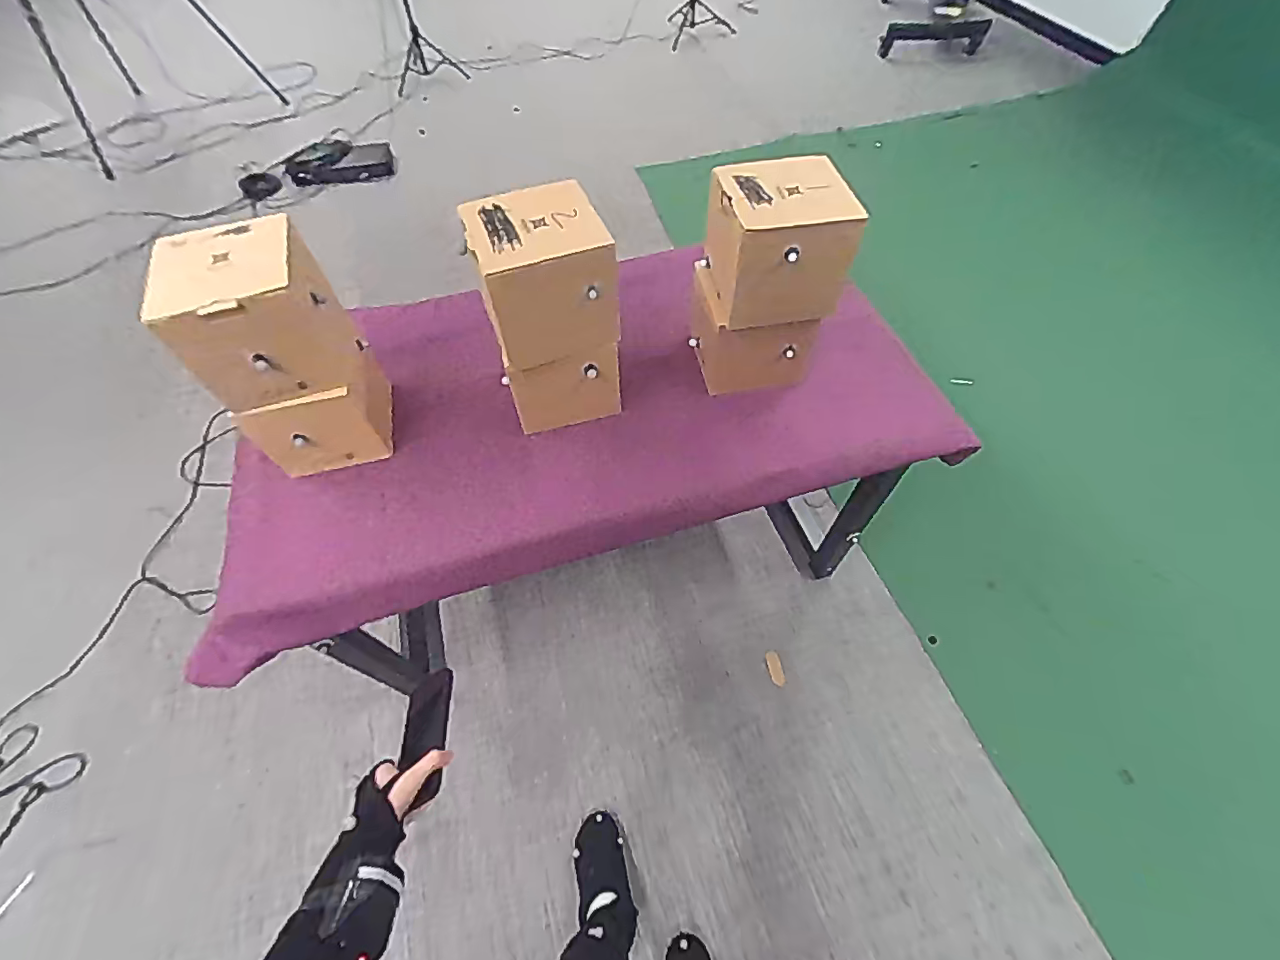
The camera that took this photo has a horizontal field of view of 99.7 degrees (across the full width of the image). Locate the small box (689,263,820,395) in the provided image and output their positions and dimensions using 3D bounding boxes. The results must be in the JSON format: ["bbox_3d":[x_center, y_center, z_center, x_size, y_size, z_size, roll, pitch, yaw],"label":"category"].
[{"bbox_3d":[0.193,-0.272,0.965,0.179,0.176,0.168,-8,57,-4],"label":"small box"}]

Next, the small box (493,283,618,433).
[{"bbox_3d":[-0.138,-0.204,0.926,0.179,0.176,0.168,-14,58,-8],"label":"small box"}]

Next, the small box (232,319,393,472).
[{"bbox_3d":[-0.520,-0.129,0.885,0.168,0.176,0.179,-13,58,-7],"label":"small box"}]

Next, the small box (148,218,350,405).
[{"bbox_3d":[-0.525,-0.225,0.751,0.168,0.176,0.179,-17,59,-11],"label":"small box"}]

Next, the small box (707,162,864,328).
[{"bbox_3d":[0.203,-0.351,0.822,0.179,0.176,0.168,-8,57,-5],"label":"small box"}]
